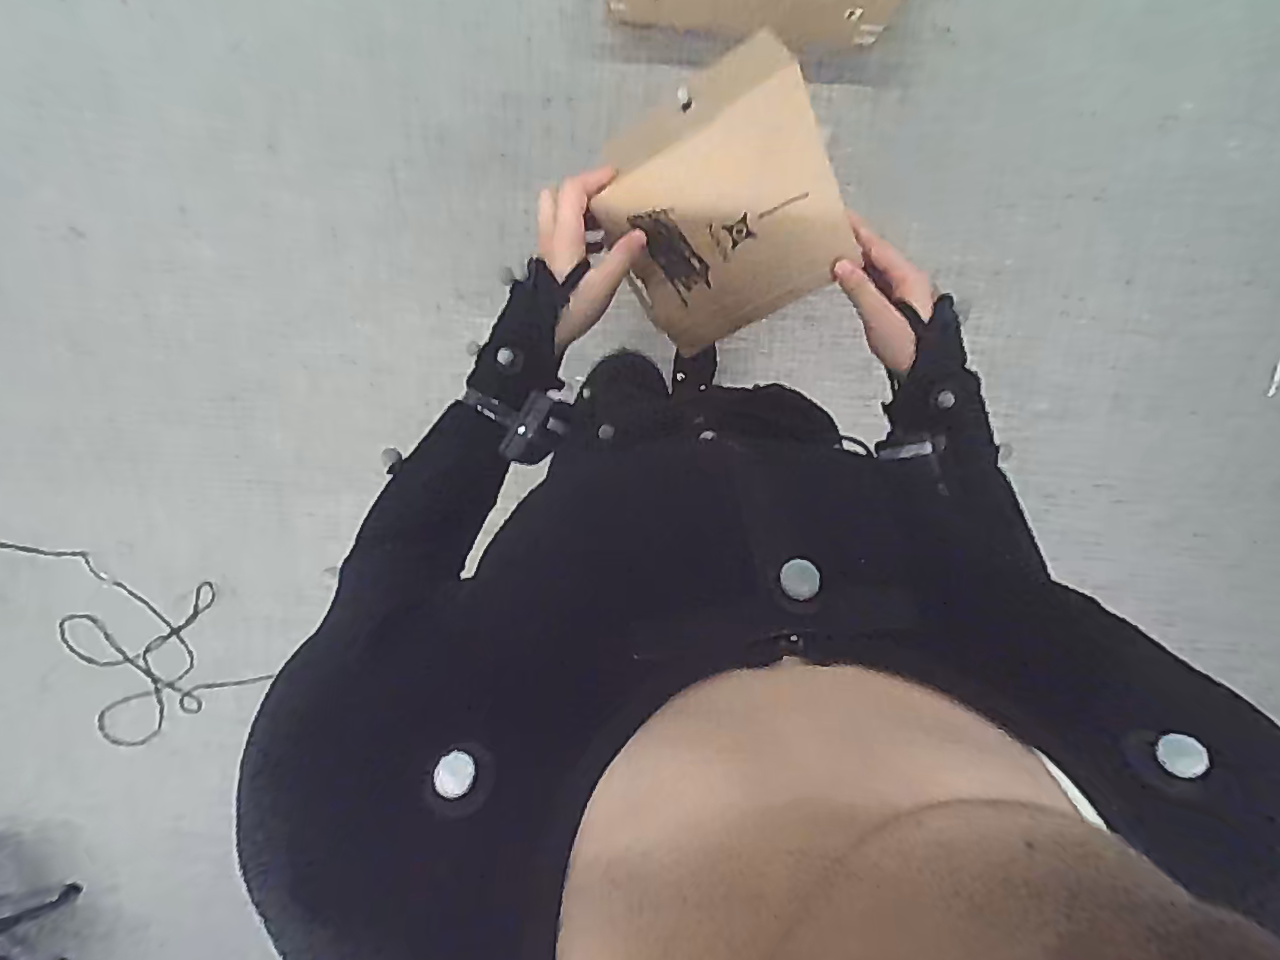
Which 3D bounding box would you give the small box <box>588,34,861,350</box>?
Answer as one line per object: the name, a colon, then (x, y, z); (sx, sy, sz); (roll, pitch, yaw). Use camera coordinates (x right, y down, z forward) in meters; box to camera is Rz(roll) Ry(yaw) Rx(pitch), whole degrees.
small box: (0.076, -0.259, 0.496); (0.179, 0.176, 0.168); (-22, 131, 24)
